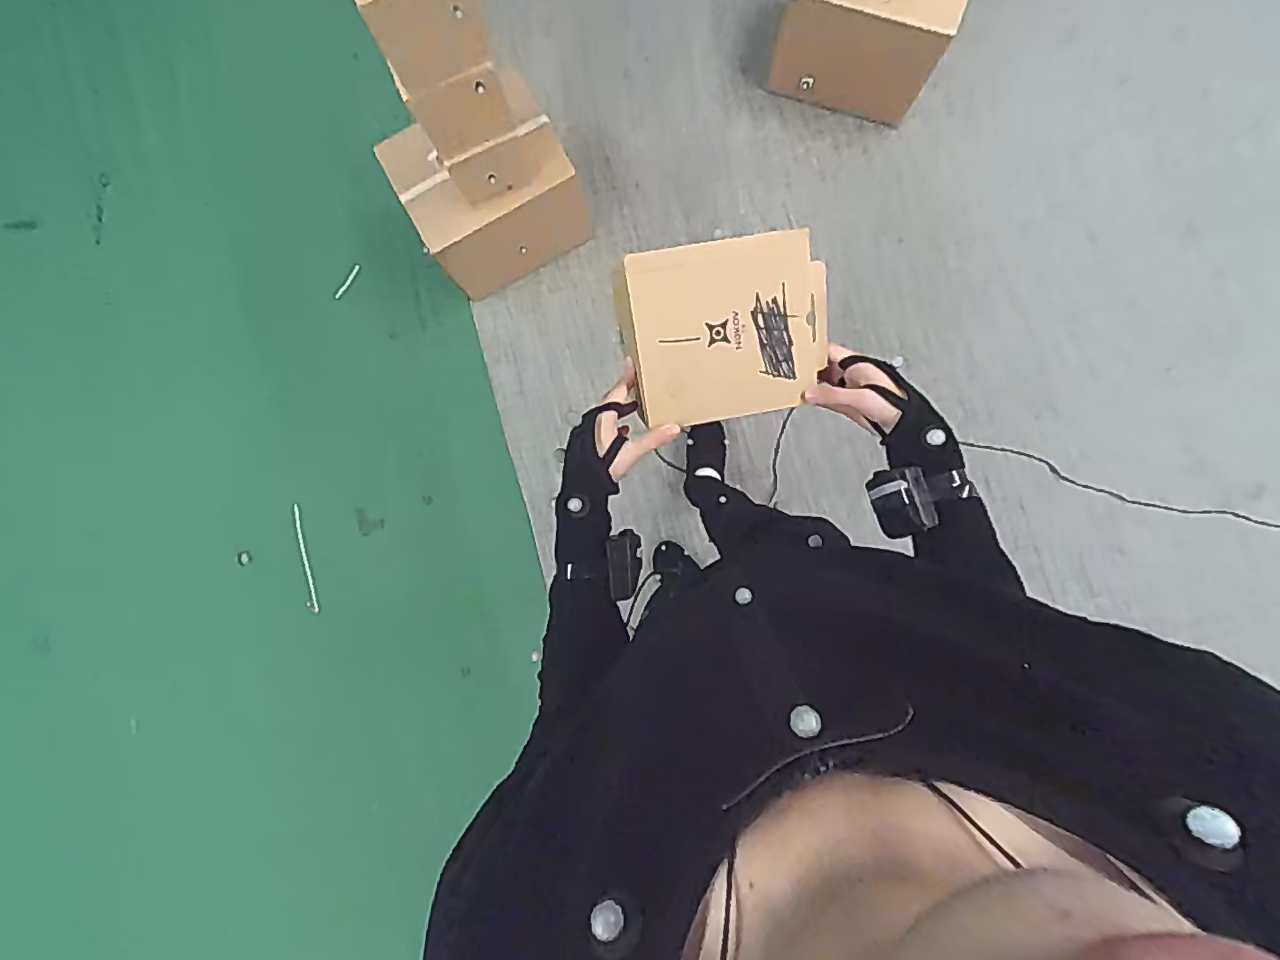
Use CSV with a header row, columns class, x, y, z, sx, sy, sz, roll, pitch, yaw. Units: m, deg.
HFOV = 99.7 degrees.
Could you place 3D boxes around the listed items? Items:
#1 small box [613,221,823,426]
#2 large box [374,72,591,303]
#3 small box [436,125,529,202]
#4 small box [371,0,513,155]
class,x,y,z,sx,sy,sz,roll,pitch,yaw
small box,0.074,-0.165,0.578,0.179,0.176,0.168,-11,107,-4
large box,-0.392,-0.746,1.438,0.408,0.320,0.320,-30,85,1
small box,-0.362,-0.748,1.191,0.168,0.176,0.179,-24,86,0
small box,-0.366,-0.766,1.030,0.179,0.176,0.168,-23,86,-1
